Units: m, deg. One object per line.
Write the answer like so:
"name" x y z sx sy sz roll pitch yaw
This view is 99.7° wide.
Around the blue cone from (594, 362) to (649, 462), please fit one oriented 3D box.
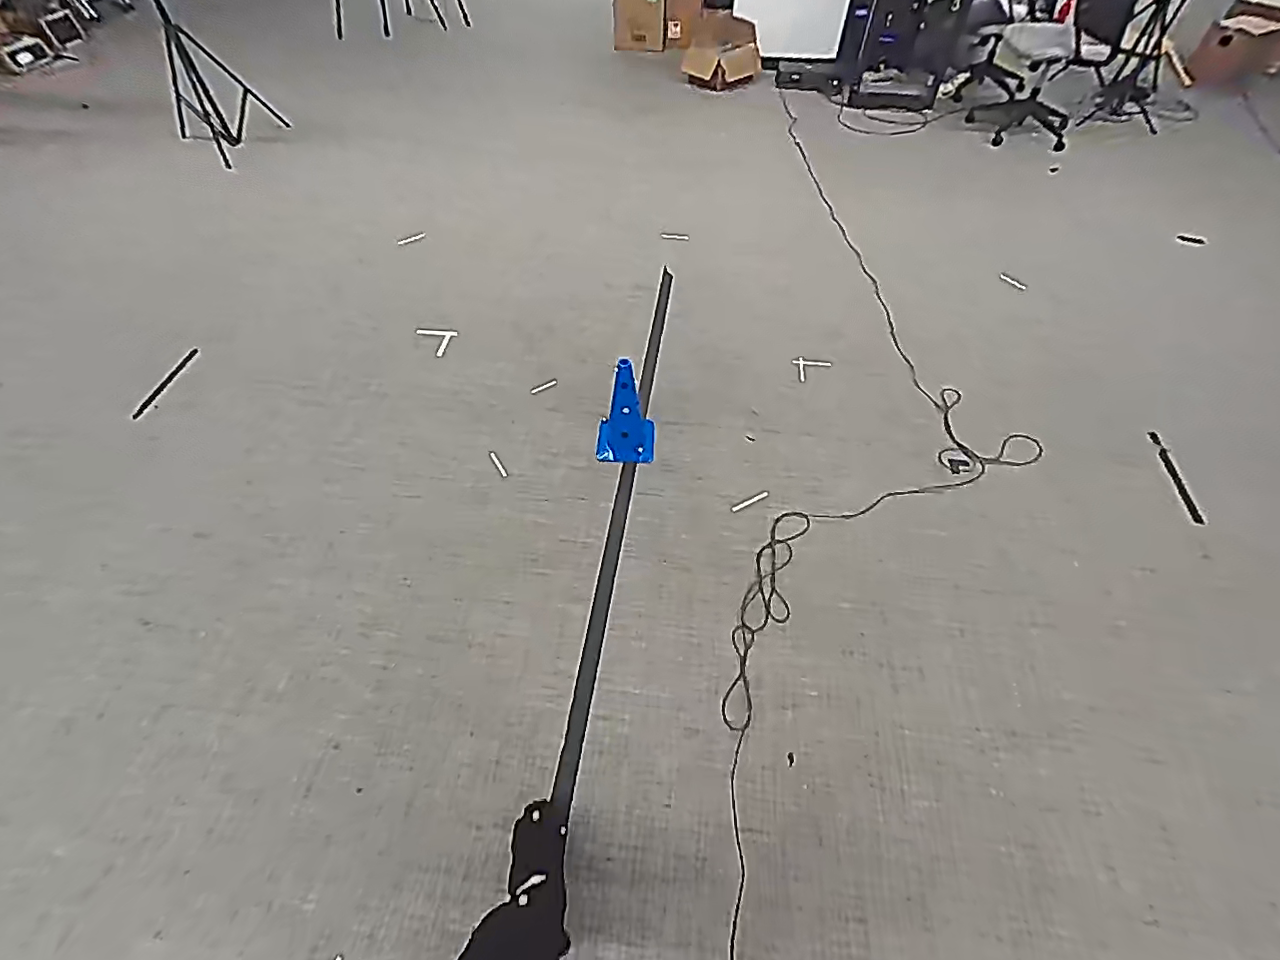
"blue cone" -0.064 -0.236 1.795 0.192 0.380 0.193 4 52 3
